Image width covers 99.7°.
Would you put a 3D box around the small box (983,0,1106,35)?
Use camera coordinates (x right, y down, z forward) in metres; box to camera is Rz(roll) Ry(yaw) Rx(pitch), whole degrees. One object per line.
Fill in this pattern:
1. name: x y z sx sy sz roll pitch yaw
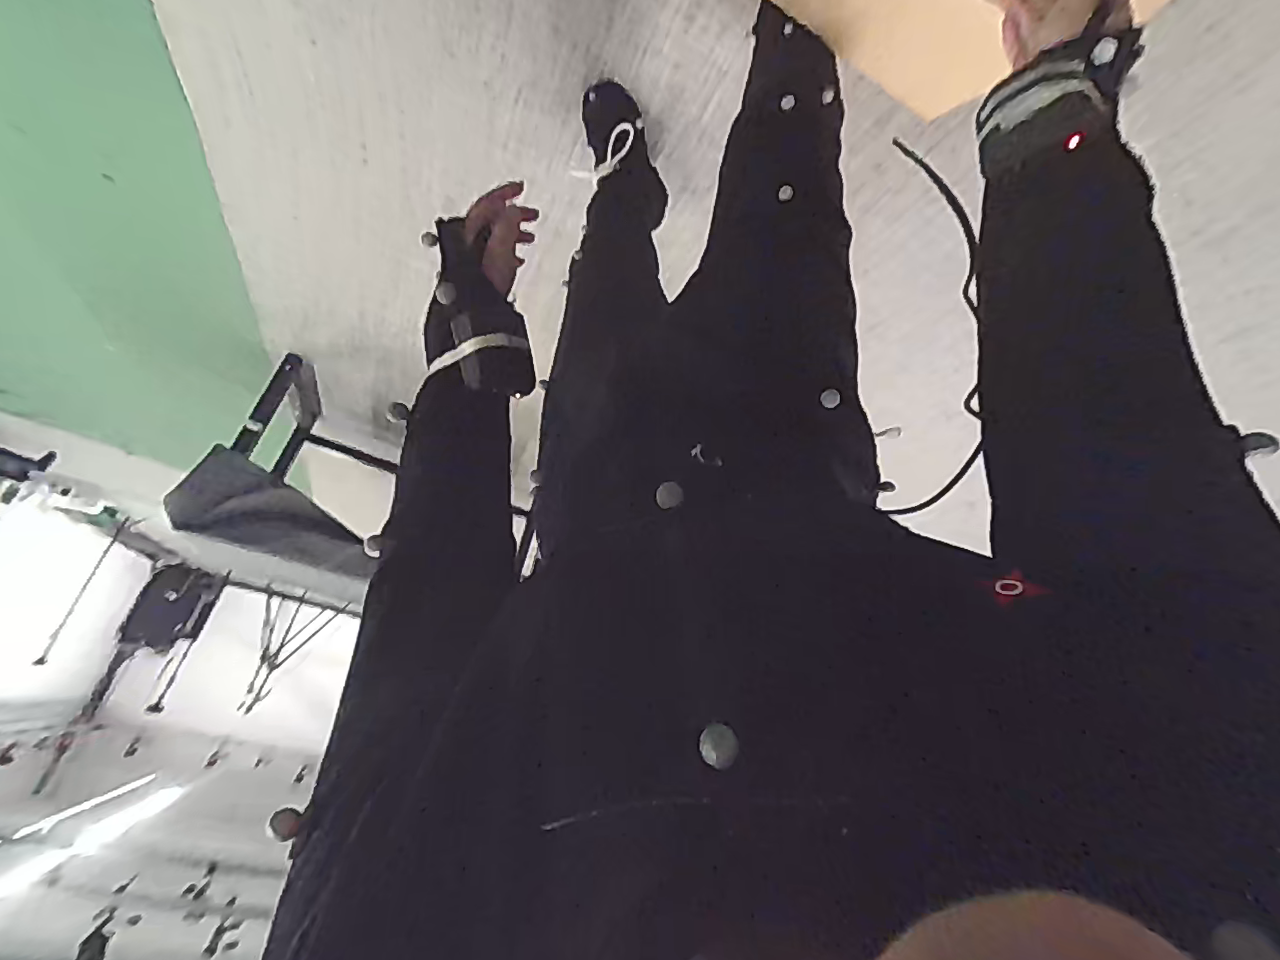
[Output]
1. small box: 0.310 -0.468 0.376 0.168 0.176 0.179 30 133 -17
